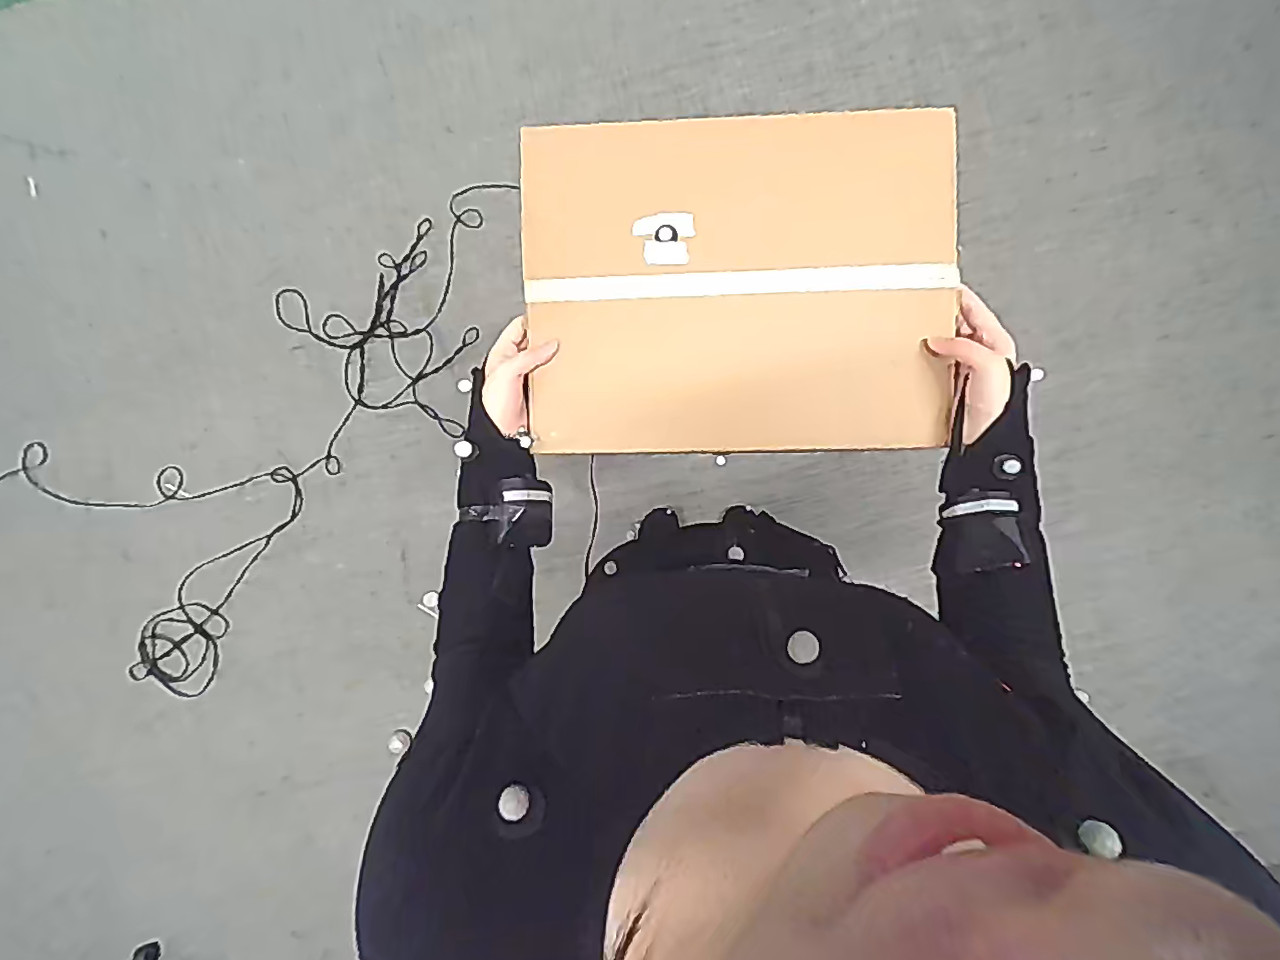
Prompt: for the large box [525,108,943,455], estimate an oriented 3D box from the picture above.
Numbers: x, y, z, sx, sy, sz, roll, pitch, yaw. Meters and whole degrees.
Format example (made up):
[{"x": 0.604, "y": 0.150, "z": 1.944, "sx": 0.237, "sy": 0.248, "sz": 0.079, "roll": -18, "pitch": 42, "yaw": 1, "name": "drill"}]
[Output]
[{"x": 0.102, "y": -0.197, "z": 0.675, "sx": 0.408, "sy": 0.320, "sz": 0.320, "roll": -1, "pitch": 93, "yaw": 5, "name": "large box"}]
